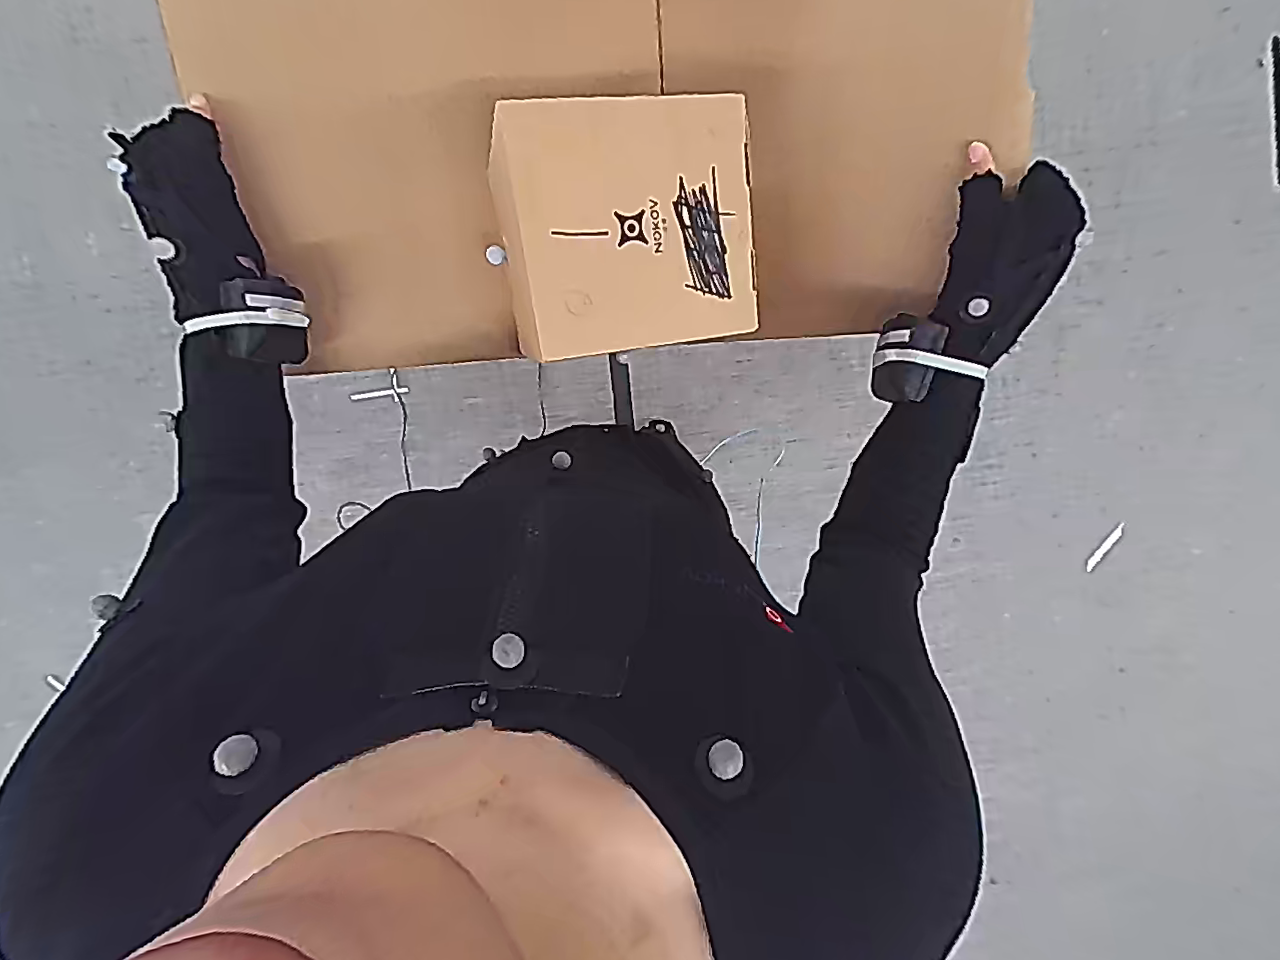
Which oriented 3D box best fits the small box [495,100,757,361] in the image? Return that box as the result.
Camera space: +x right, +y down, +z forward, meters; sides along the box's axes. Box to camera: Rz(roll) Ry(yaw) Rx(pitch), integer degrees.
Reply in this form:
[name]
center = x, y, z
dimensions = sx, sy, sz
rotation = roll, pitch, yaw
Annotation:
[small box]
center = -0.020, -0.200, 0.464
dimensions = 0.179, 0.176, 0.168
rotation = -12, 107, -13
